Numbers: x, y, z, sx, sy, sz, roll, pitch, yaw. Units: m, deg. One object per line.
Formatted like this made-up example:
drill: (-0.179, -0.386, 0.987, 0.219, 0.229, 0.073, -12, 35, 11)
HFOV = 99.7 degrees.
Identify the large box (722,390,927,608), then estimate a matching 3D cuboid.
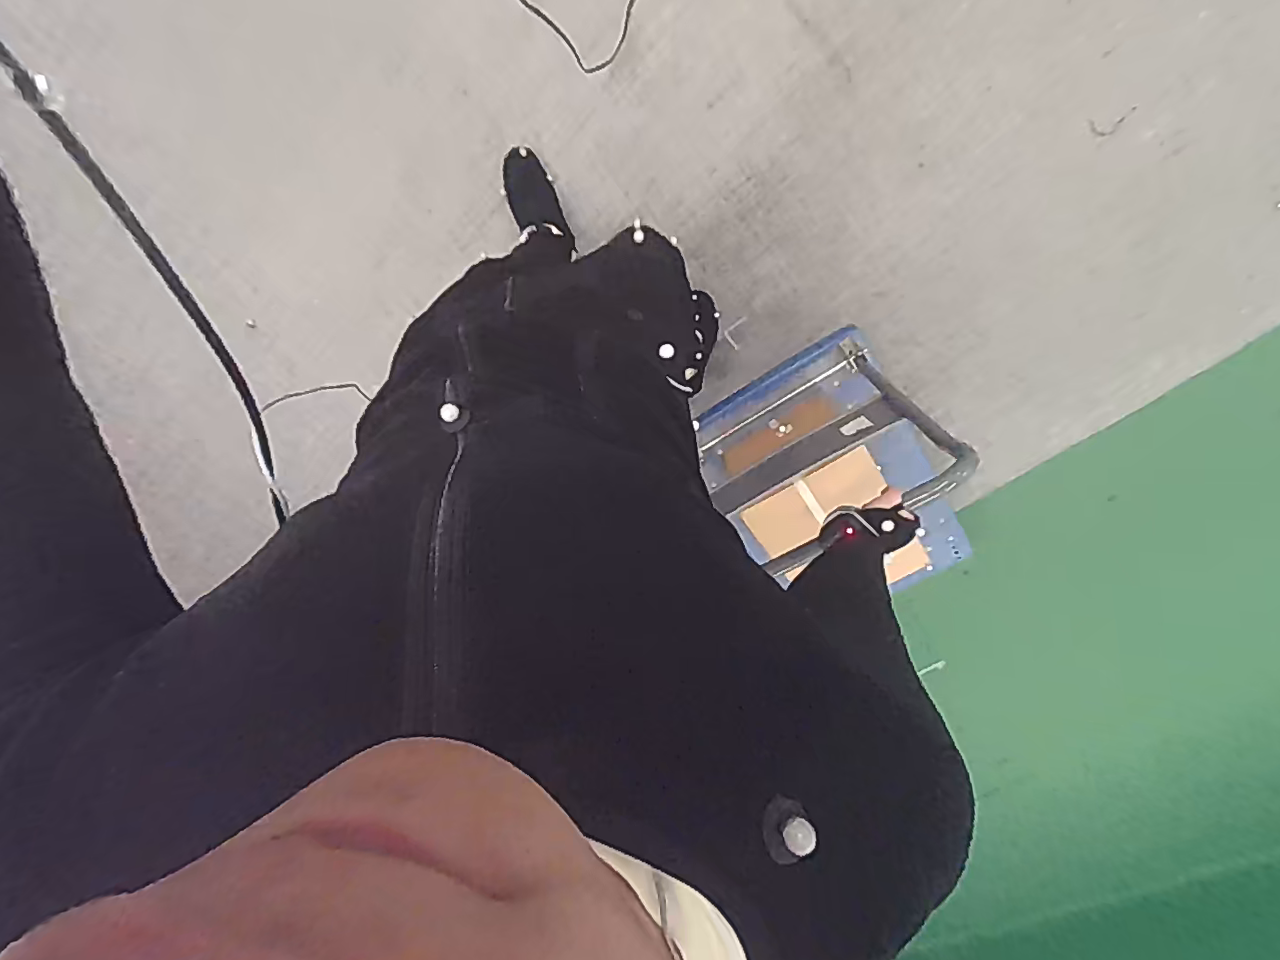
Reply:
large box: (0.462, 0.046, 1.410, 0.320, 0.320, 0.408, -32, 116, 18)
